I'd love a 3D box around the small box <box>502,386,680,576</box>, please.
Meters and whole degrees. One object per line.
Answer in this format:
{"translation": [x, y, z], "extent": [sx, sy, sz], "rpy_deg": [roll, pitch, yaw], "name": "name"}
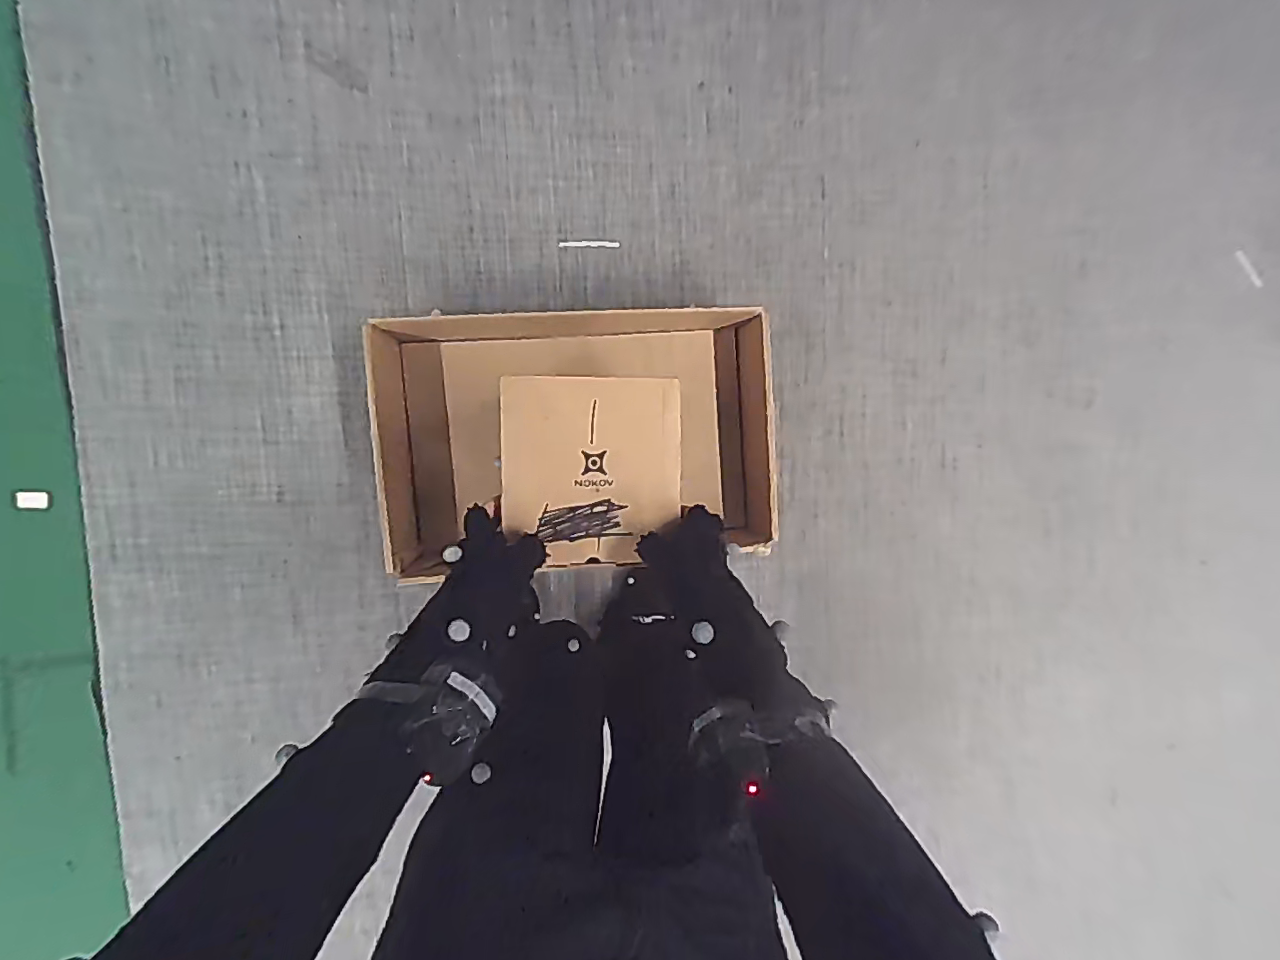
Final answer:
{"translation": [-0.054, -0.003, 0.580], "extent": [0.168, 0.176, 0.179], "rpy_deg": [0, 92, -8], "name": "small box"}
